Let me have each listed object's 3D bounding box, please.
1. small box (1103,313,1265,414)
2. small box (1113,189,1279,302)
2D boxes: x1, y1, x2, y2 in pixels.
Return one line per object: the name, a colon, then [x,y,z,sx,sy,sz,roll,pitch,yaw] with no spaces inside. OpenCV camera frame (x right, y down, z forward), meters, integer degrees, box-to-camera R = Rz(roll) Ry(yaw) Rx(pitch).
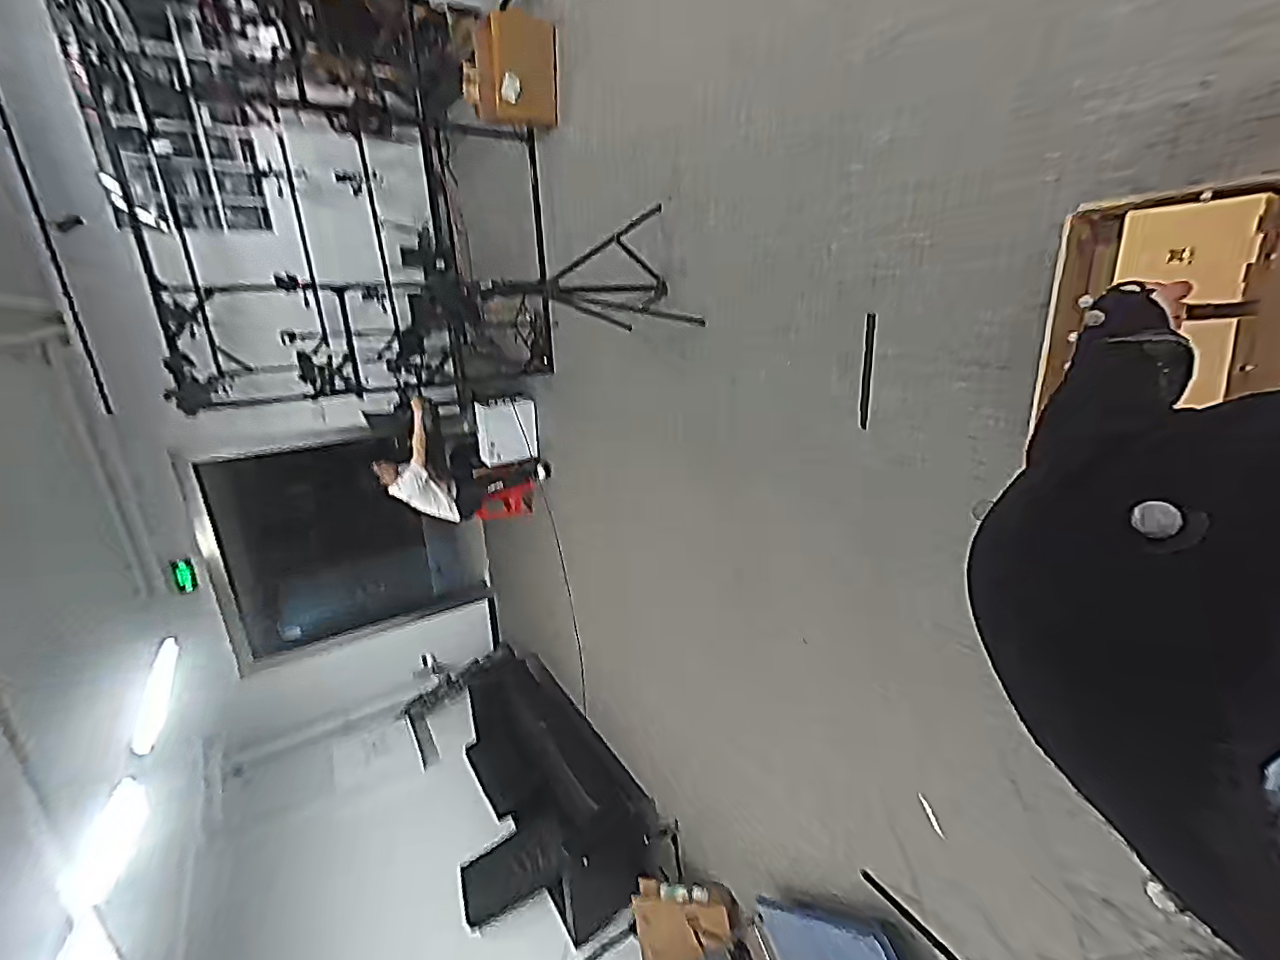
small box: [1.020,-0.220,1.016,0.179,0.176,0.168,16,114,56]
small box: [1.003,-0.410,0.968,0.179,0.176,0.168,21,122,53]
